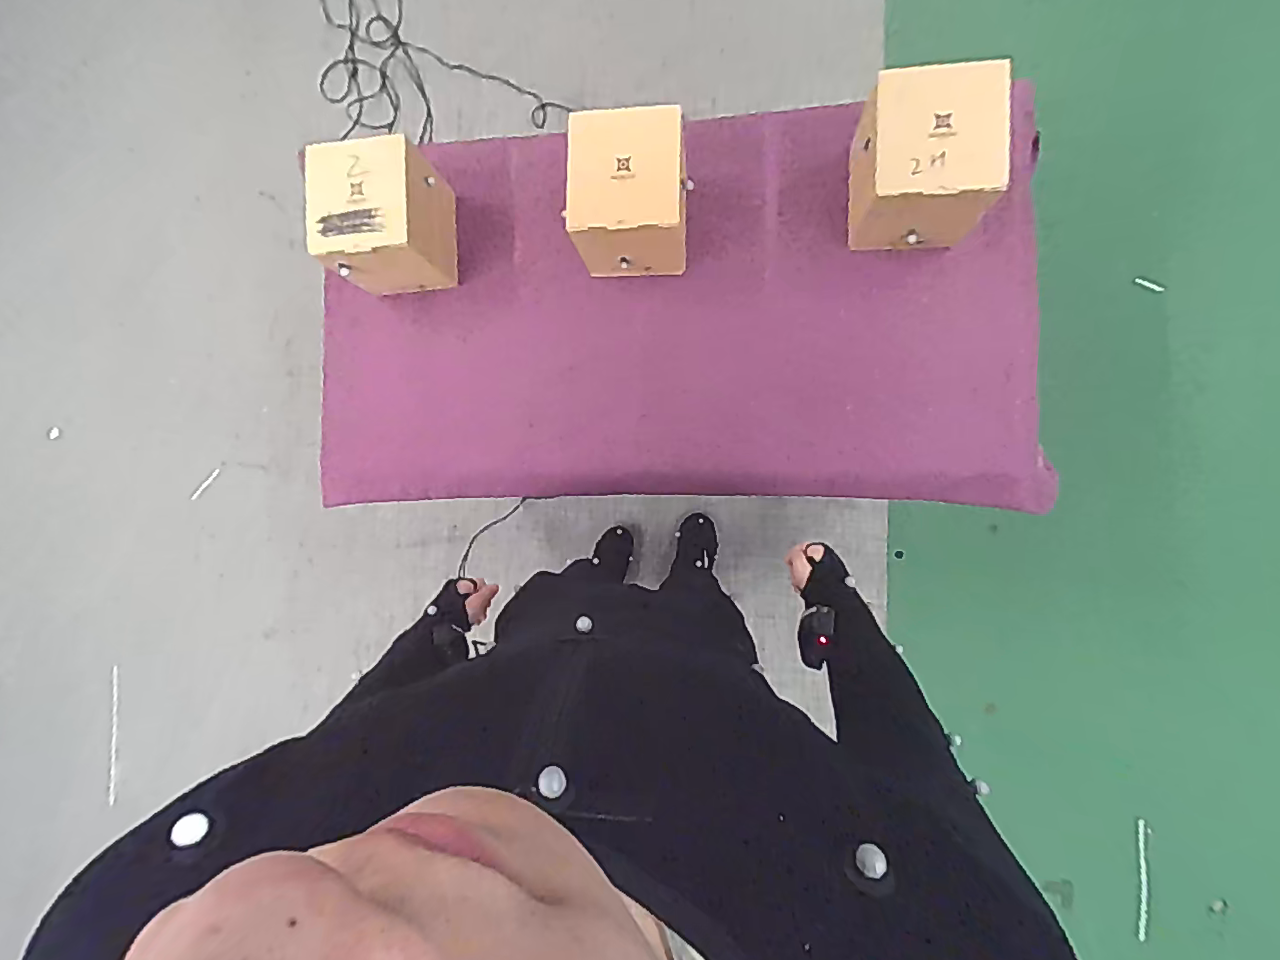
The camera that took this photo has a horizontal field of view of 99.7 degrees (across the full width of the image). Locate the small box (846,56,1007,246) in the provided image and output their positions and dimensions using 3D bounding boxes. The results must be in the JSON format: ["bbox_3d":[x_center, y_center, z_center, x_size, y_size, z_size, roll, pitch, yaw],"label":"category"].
[{"bbox_3d":[0.407,-0.468,0.794,0.168,0.176,0.179,1,89,9],"label":"small box"}]

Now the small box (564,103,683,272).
[{"bbox_3d":[-0.018,-0.446,0.848,0.168,0.176,0.179,0,90,6],"label":"small box"}]
